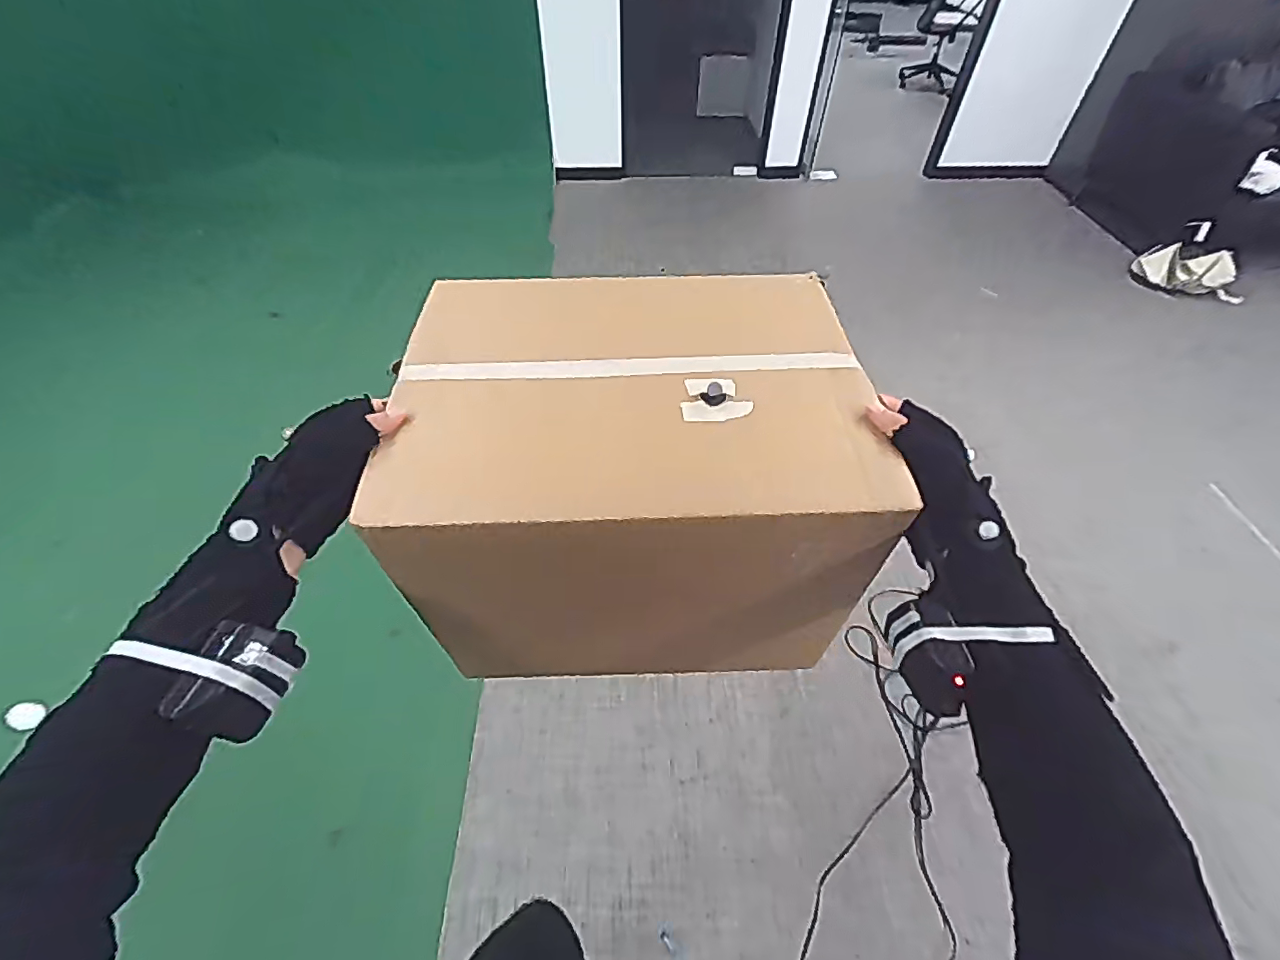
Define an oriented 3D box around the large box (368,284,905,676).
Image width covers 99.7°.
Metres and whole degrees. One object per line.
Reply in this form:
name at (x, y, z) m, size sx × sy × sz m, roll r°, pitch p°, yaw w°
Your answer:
large box at (-0.009, 0.005, 0.600) m, size 0.408 × 0.320 × 0.320 m, roll -2°, pitch 51°, yaw -2°
